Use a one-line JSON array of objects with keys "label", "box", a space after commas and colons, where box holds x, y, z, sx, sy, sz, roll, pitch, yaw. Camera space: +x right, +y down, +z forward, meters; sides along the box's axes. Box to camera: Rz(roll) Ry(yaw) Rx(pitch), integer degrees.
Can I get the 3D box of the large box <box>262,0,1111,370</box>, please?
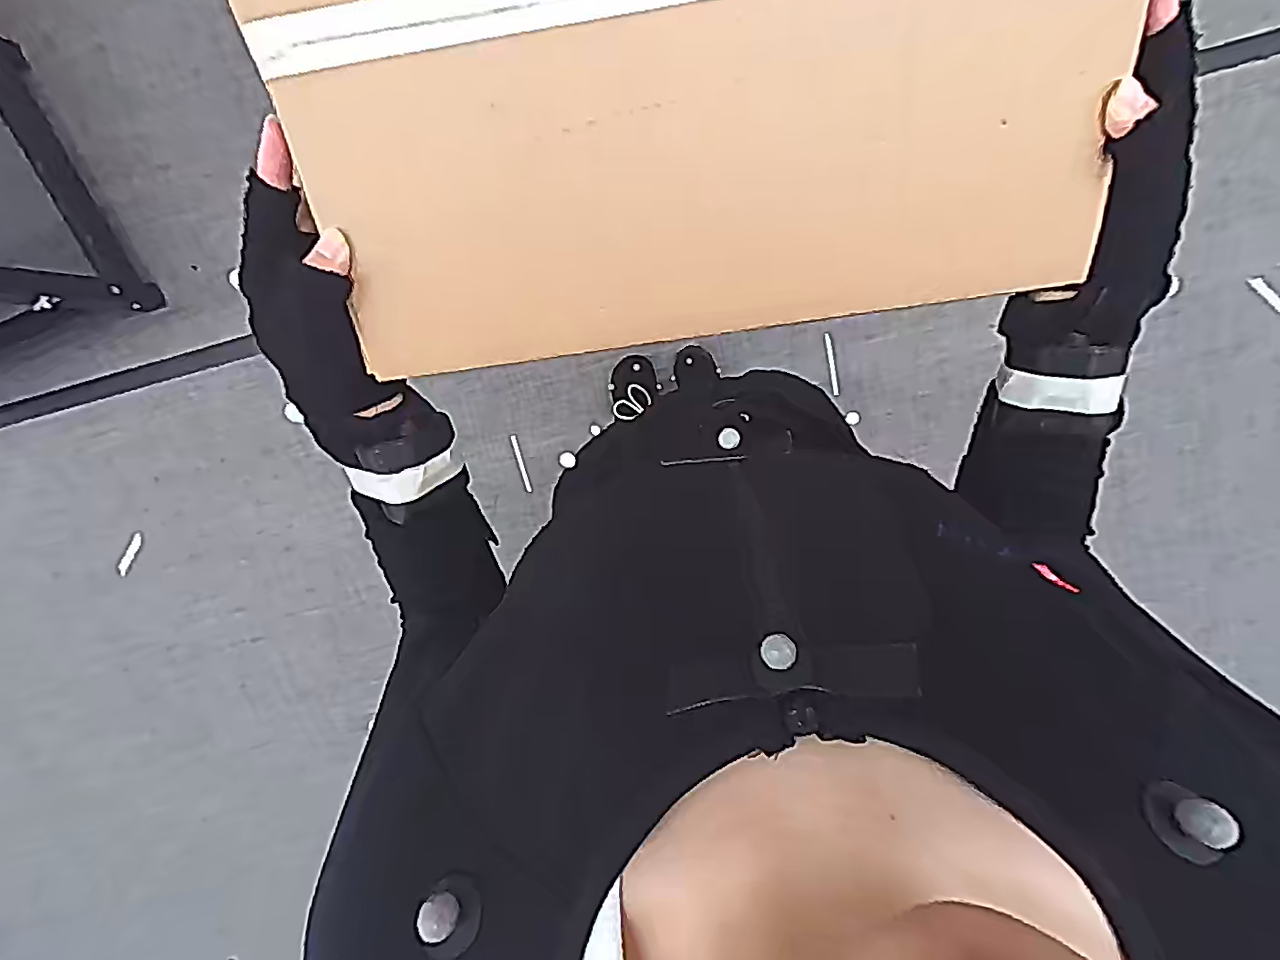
[{"label": "large box", "box": [0.018, -0.293, 0.388, 0.408, 0.320, 0.320, -7, 116, 3]}]
